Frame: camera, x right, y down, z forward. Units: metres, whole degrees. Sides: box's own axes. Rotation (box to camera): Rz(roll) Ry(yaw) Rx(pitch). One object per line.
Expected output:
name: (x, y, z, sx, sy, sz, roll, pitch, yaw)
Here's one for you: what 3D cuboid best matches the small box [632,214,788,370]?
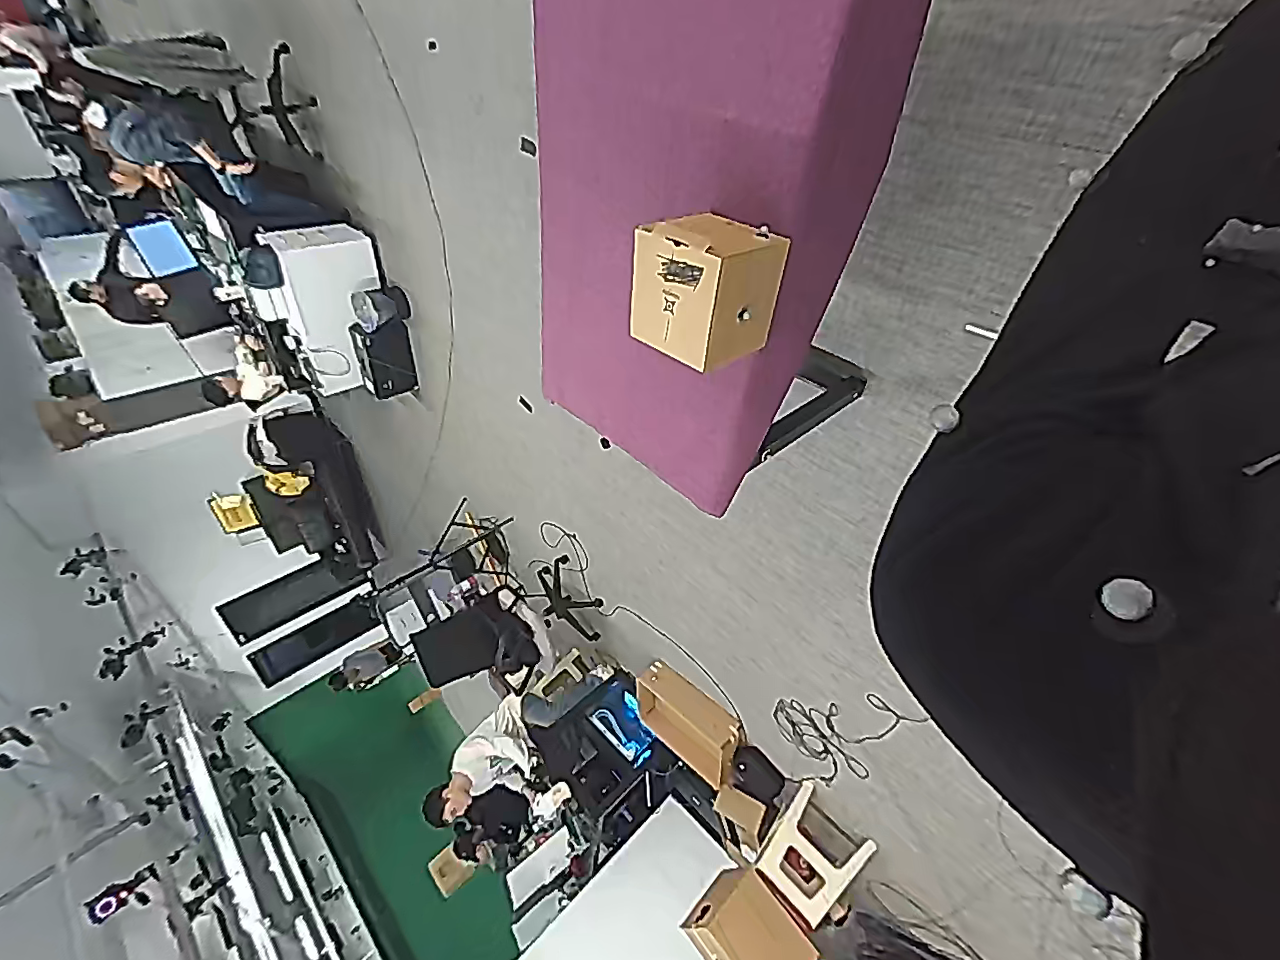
small box: (0.109, -0.305, 0.854, 0.168, 0.176, 0.179, 36, 138, 32)
